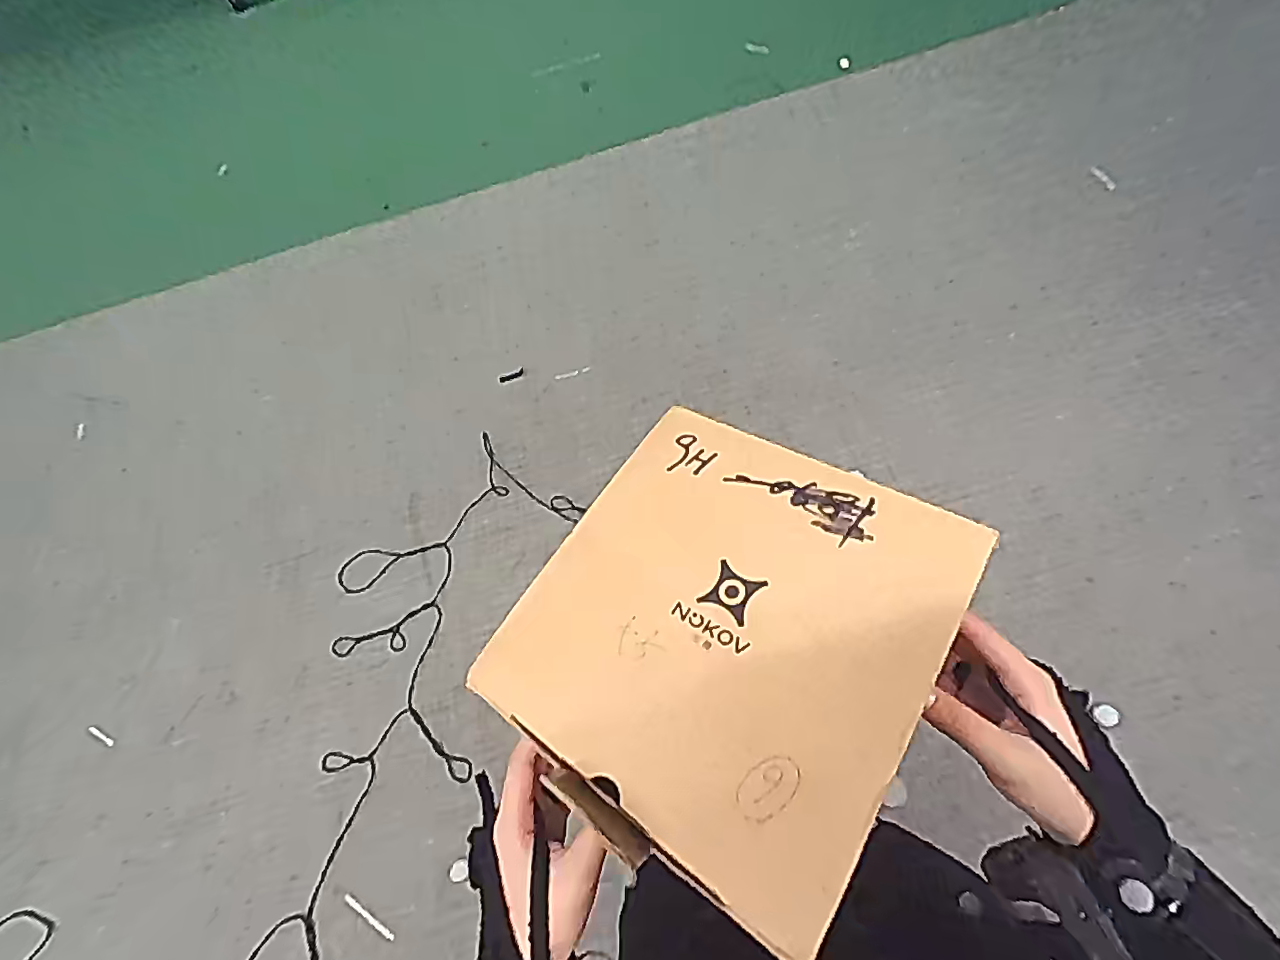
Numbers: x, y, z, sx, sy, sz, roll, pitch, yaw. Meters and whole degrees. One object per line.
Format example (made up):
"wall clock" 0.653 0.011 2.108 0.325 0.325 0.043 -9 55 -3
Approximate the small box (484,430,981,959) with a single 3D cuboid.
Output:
"small box" 0.056 0.108 0.307 0.168 0.176 0.179 25 67 28
